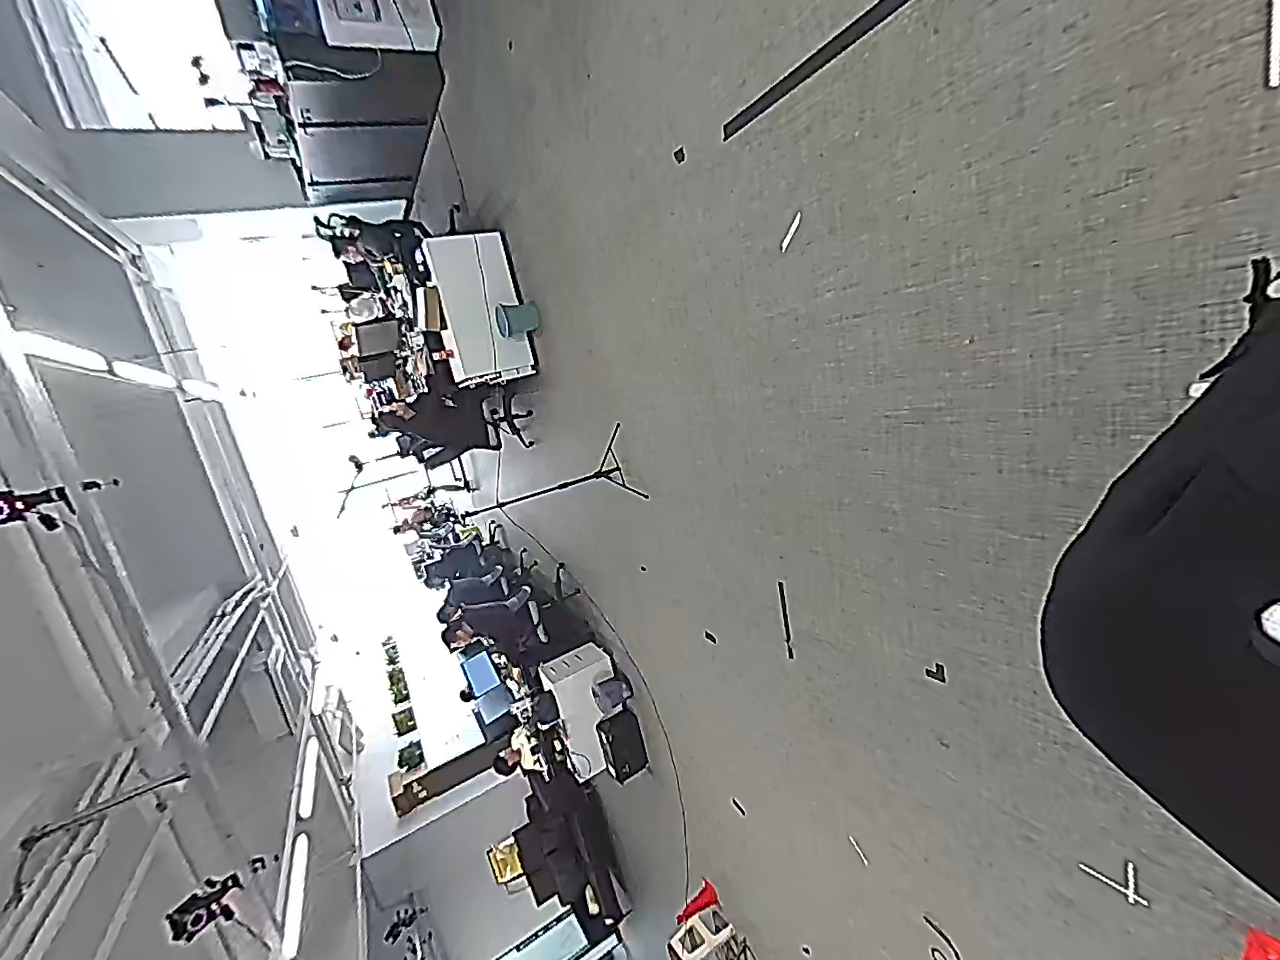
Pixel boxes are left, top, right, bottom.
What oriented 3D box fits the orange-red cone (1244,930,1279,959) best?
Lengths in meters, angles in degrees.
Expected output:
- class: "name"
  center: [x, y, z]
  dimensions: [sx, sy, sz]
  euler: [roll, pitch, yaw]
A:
- class: "orange-red cone"
  center: [1.340, 1.188, 1.127]
  dimensions: [0.199, 0.360, 0.198]
  euler: [21, 124, 59]
